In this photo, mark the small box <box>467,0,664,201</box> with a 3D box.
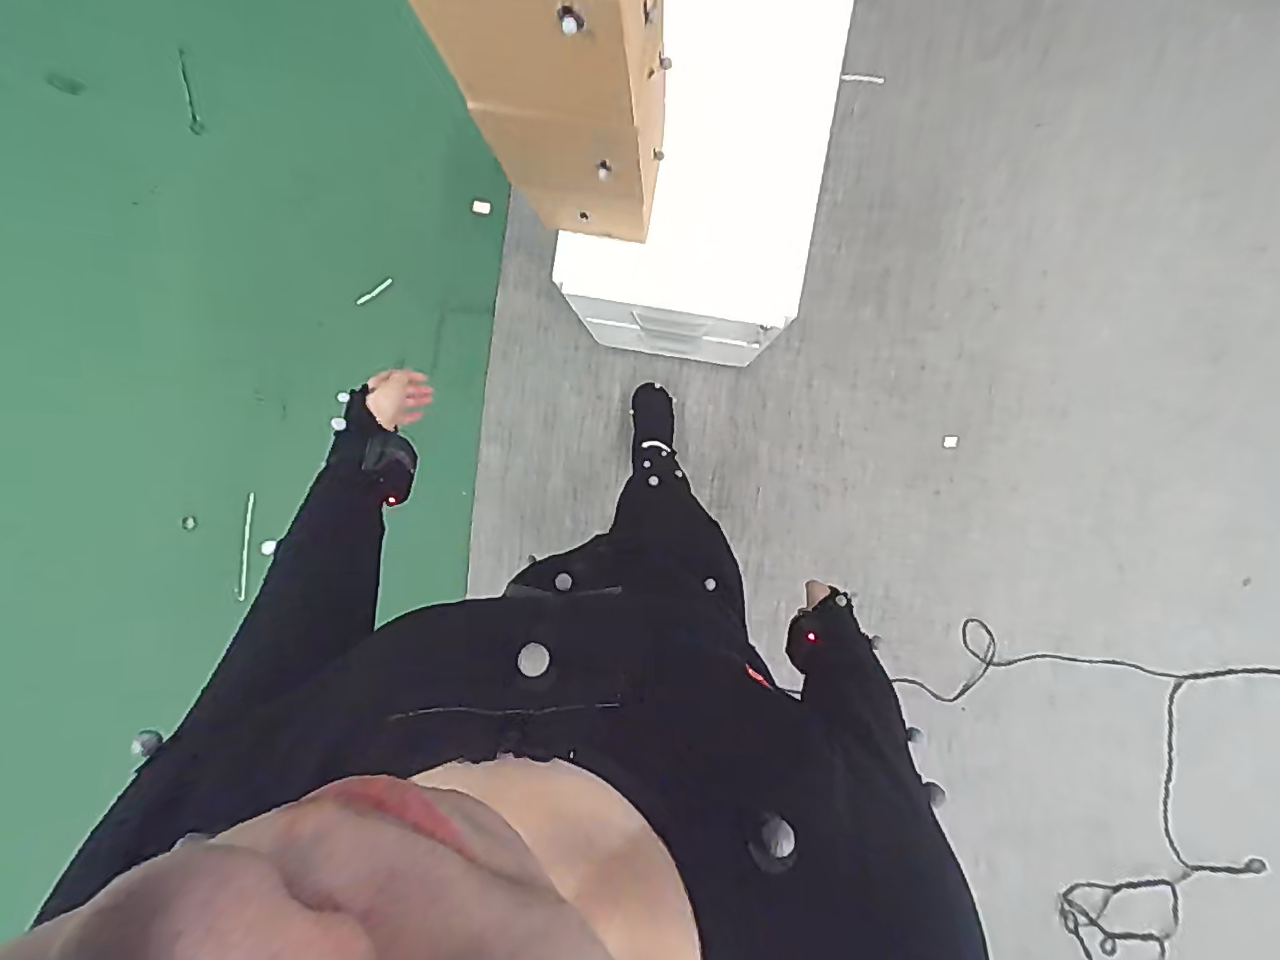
[{"bbox_3d":[-0.070,-0.438,0.606,0.179,0.176,0.168,9,93,2],"label":"small box"}]

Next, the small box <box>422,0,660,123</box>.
[{"bbox_3d":[-0.078,-0.432,0.443,0.179,0.176,0.168,11,94,1],"label":"small box"}]

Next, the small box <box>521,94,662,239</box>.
[{"bbox_3d":[-0.062,-0.465,0.766,0.168,0.176,0.179,10,95,0],"label":"small box"}]
